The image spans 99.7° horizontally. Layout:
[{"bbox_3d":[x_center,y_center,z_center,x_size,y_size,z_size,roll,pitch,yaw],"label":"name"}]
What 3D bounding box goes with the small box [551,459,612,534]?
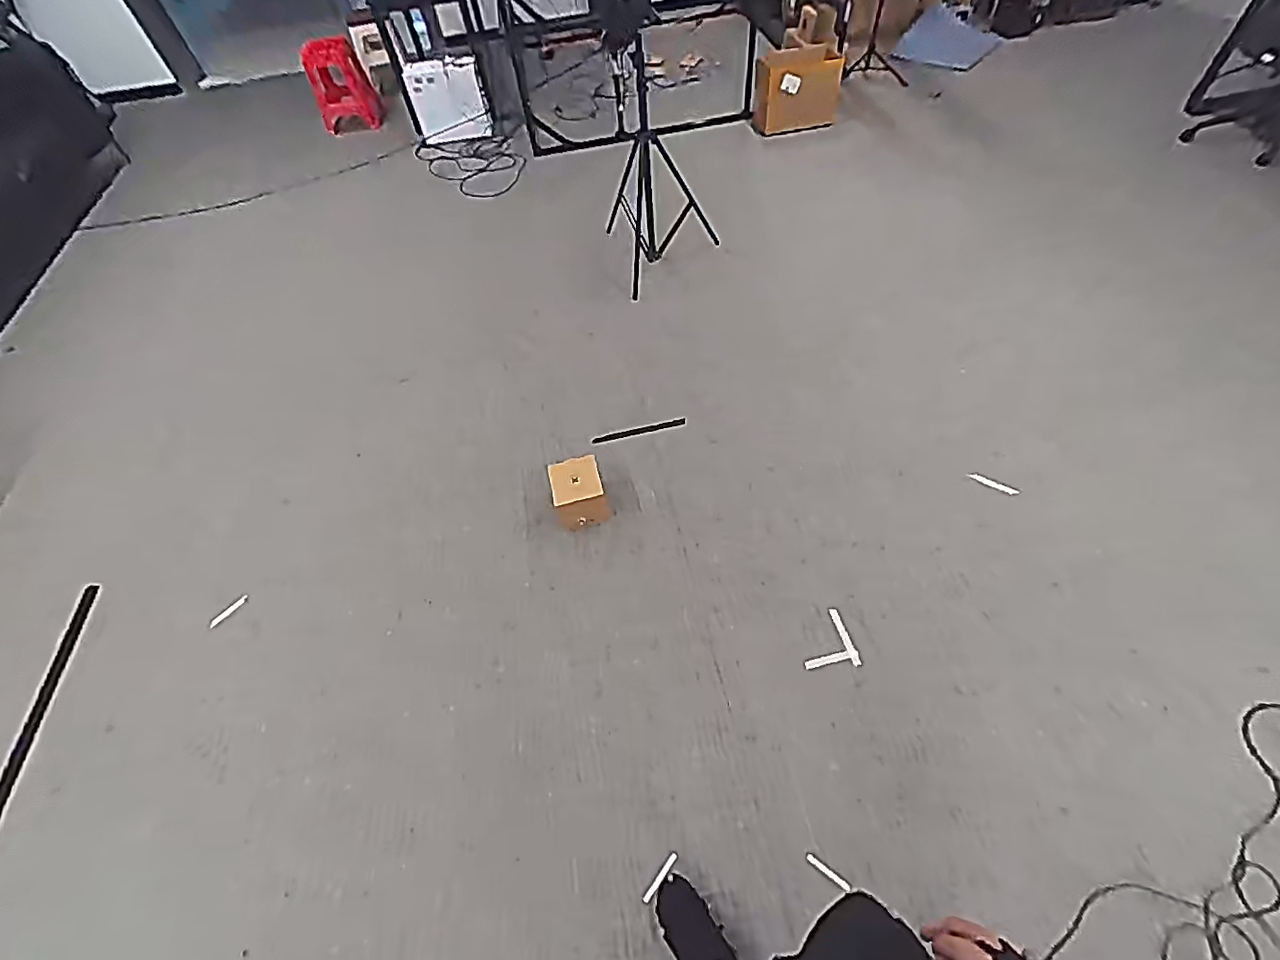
[{"bbox_3d":[-0.201,0.059,1.860,0.168,0.176,0.179,-15,55,-3],"label":"small box"}]
